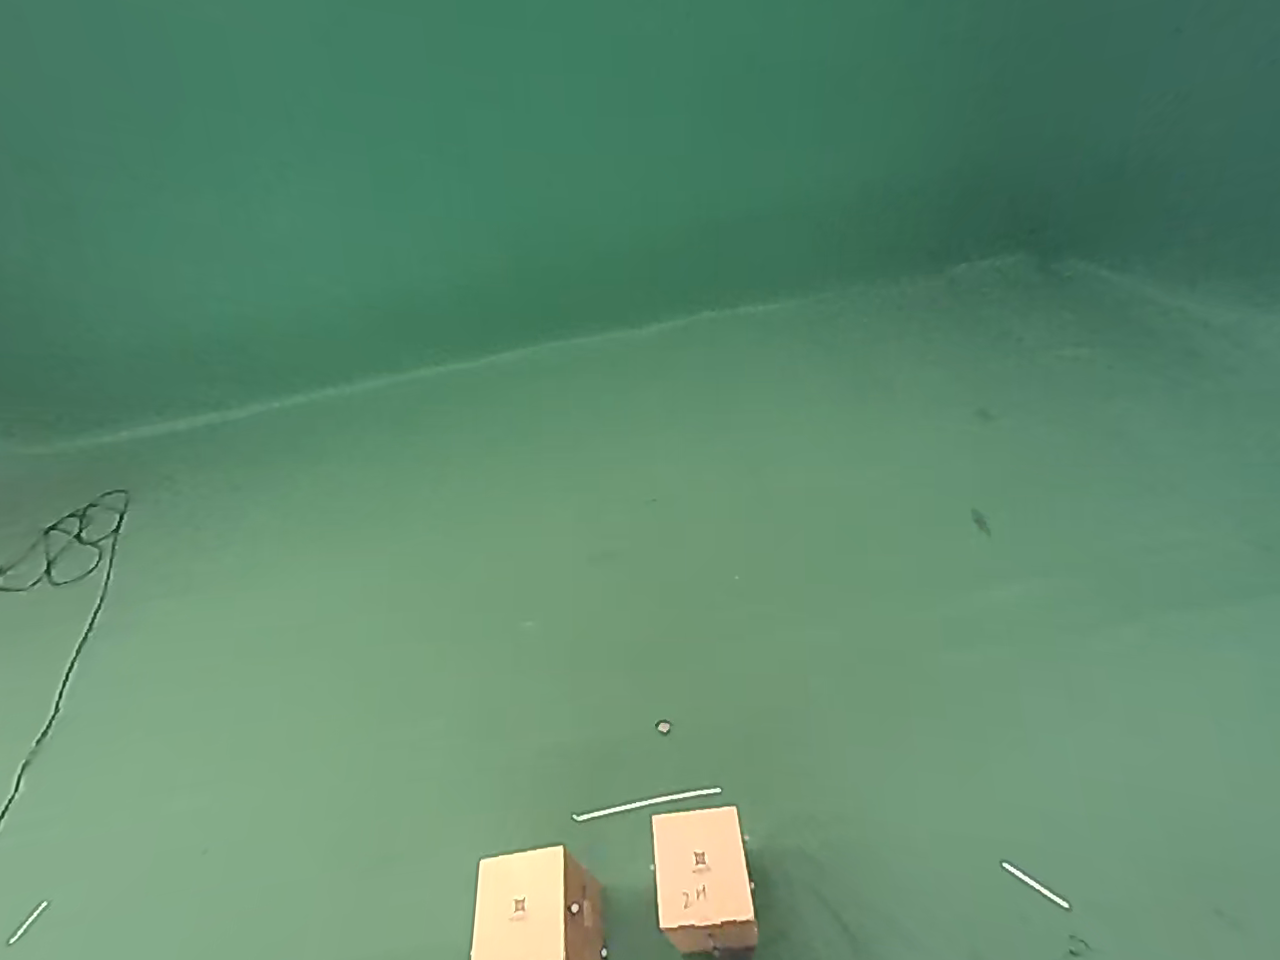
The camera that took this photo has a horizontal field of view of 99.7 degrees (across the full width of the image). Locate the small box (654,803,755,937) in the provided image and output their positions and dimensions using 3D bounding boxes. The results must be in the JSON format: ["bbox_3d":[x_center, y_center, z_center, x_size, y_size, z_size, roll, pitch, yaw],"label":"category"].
[{"bbox_3d":[0.121,0.750,1.040,0.168,0.176,0.179,-9,44,3],"label":"small box"}]

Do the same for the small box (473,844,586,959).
[{"bbox_3d":[-0.203,0.829,1.031,0.168,0.176,0.179,-11,43,1],"label":"small box"}]

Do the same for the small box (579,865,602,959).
[{"bbox_3d":[-0.180,0.944,1.145,0.179,0.176,0.168,-12,43,1],"label":"small box"}]
